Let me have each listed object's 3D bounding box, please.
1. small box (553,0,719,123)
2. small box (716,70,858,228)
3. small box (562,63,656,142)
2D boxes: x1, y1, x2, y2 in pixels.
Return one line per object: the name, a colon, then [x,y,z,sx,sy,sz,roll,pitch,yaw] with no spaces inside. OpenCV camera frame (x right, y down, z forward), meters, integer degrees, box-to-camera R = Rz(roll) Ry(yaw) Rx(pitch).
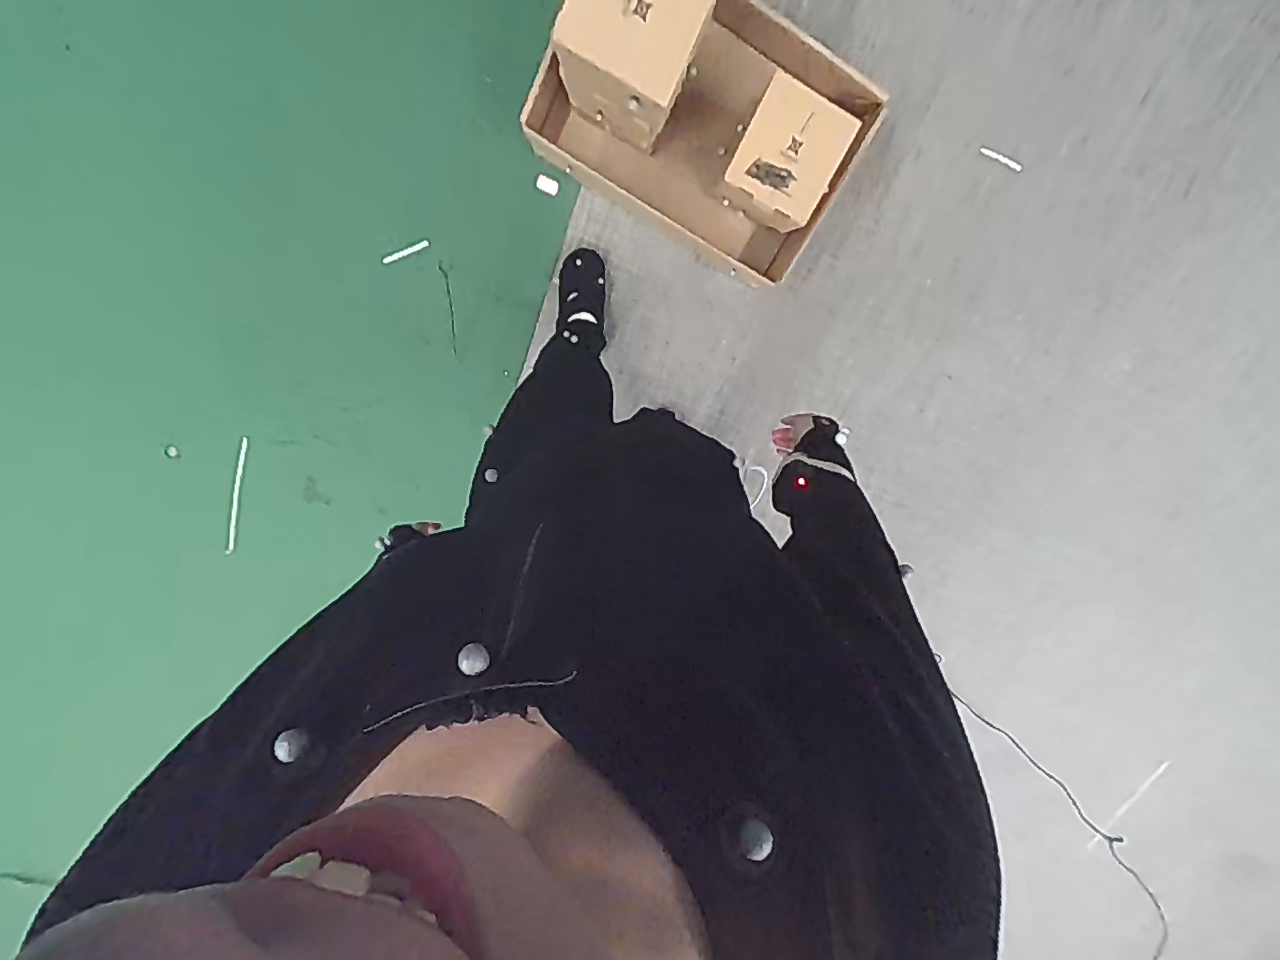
small box: [-0.004,-0.644,0.771,0.179,0.176,0.168,25,110,-12]
small box: [0.250,-0.577,0.975,0.168,0.176,0.179,26,109,-10]
small box: [-0.017,-0.717,0.919,0.168,0.176,0.179,26,110,-12]
